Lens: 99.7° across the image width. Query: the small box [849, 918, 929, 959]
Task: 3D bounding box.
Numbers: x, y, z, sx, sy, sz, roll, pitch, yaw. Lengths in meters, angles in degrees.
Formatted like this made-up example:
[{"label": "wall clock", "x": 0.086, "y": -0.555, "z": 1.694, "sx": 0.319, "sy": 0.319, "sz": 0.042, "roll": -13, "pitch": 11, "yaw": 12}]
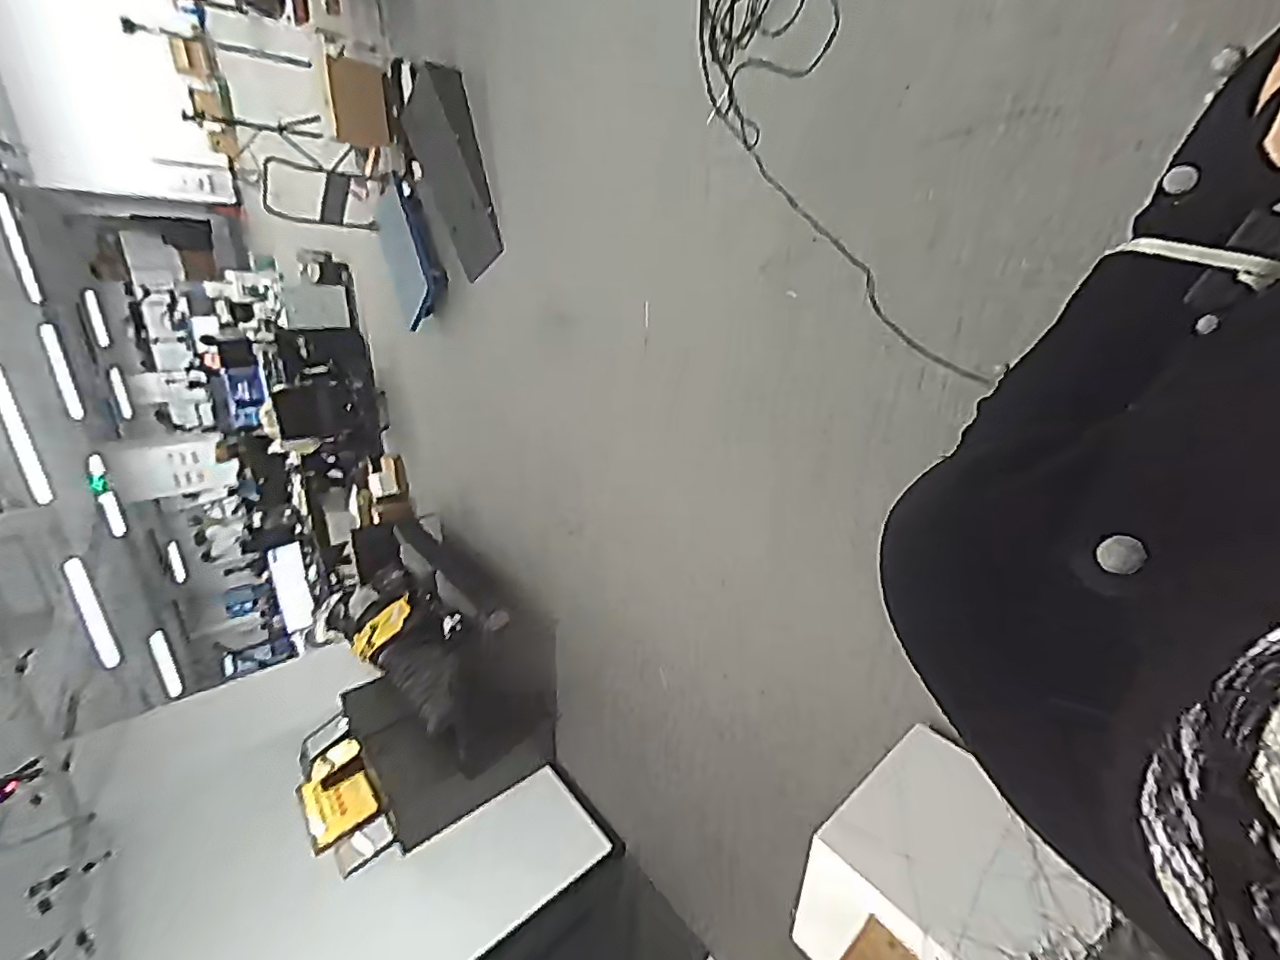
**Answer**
[{"label": "small box", "x": 0.518, "y": 1.081, "z": 1.121, "sx": 0.168, "sy": 0.176, "sz": 0.179, "roll": 28, "pitch": 124, "yaw": 43}]
